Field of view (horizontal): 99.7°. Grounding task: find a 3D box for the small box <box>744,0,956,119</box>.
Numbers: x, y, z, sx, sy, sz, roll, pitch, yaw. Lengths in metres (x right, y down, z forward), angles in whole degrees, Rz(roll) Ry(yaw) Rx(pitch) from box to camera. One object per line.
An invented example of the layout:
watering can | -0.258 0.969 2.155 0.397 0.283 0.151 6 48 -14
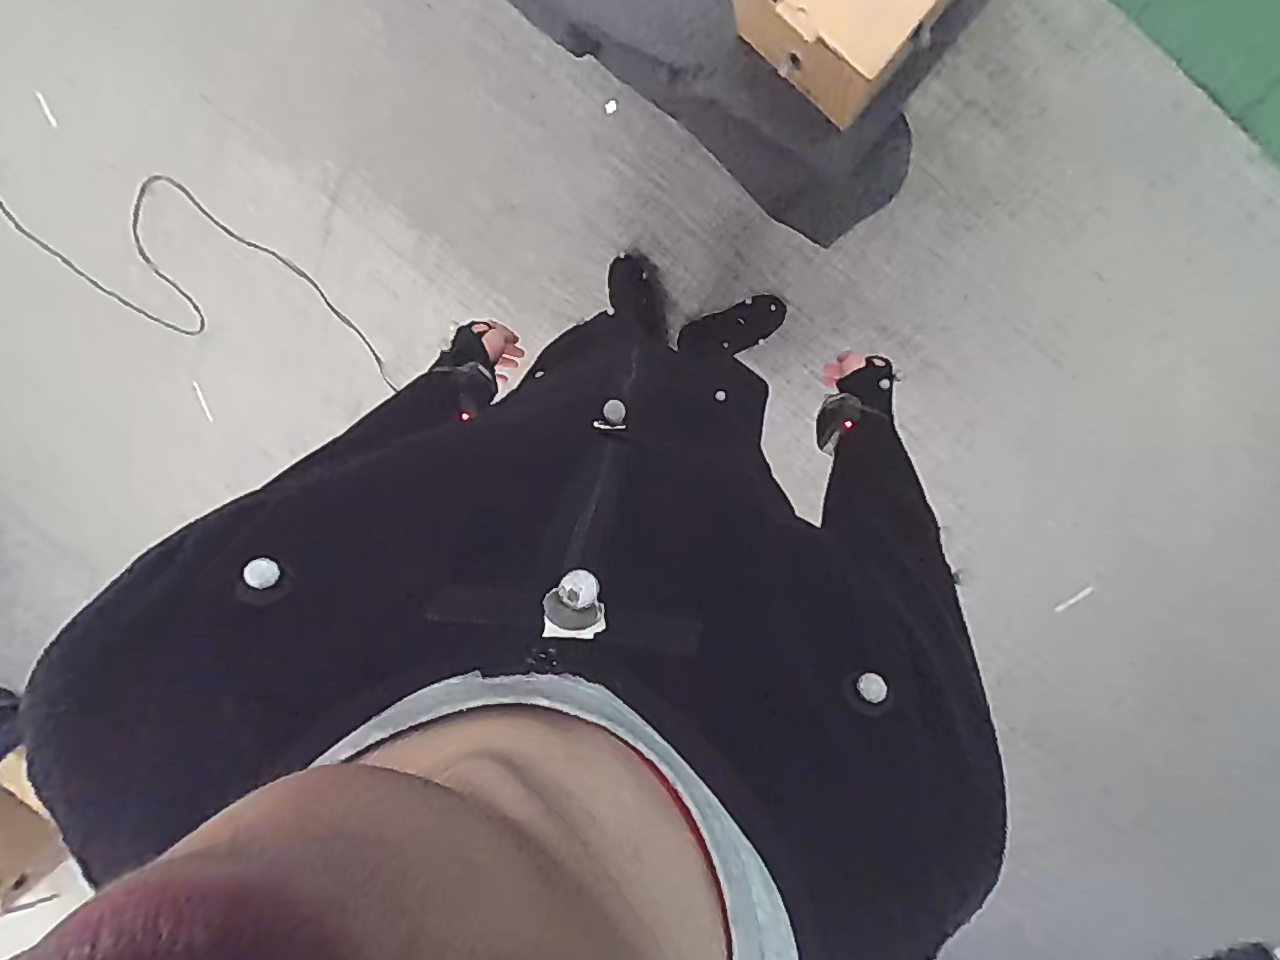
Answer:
small box | 0.204 -0.472 0.485 0.168 0.176 0.179 41 114 -3
